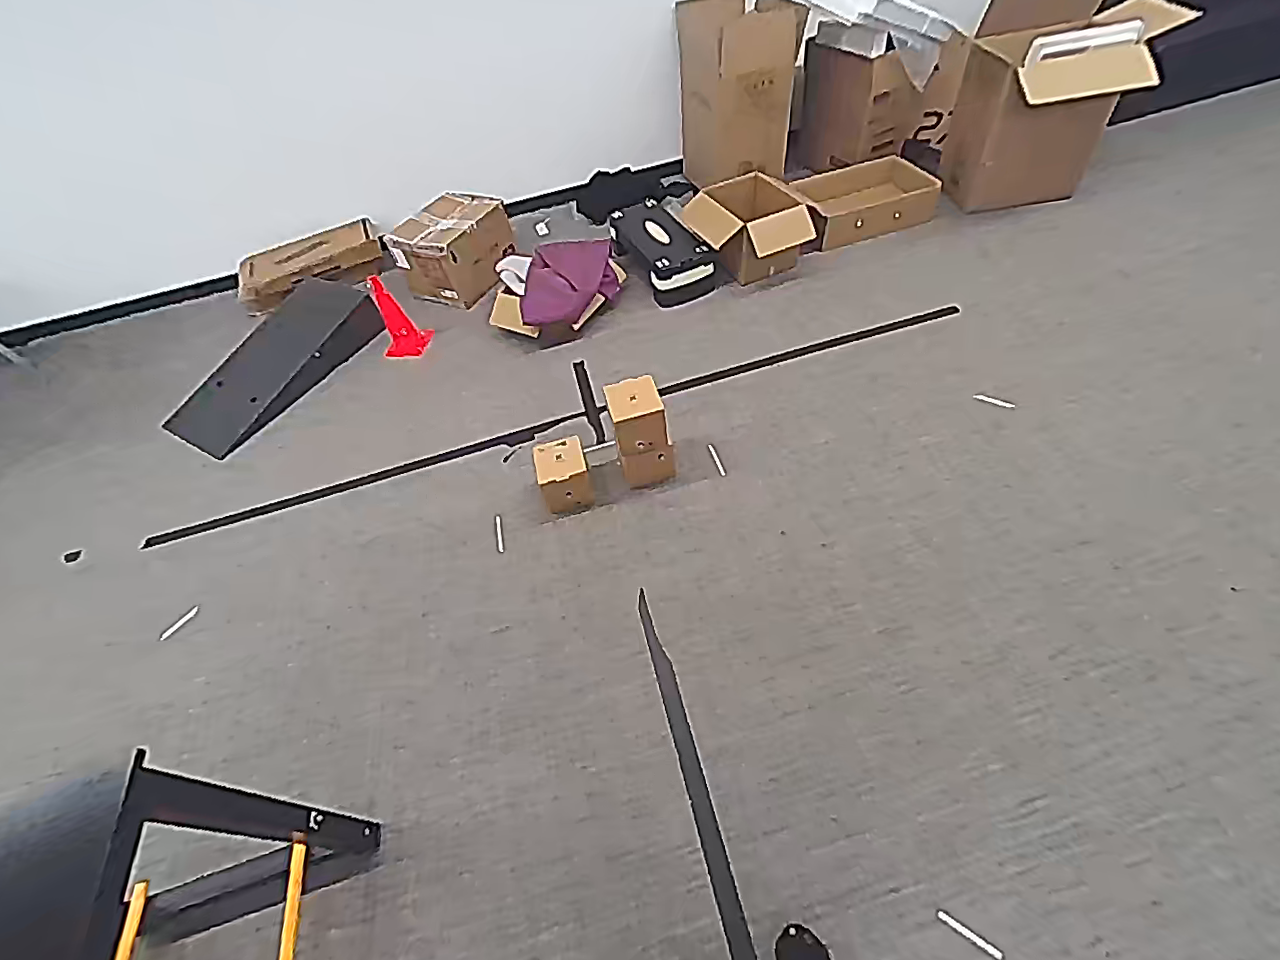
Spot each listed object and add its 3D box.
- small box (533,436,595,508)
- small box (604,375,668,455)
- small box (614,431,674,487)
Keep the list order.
[{"bbox_3d":[-0.260,-0.021,1.873,0.168,0.176,0.179,-15,52,-2],"label":"small box"},{"bbox_3d":[-0.012,-0.211,1.776,0.168,0.176,0.179,-16,52,-3],"label":"small box"},{"bbox_3d":[0.016,-0.103,1.895,0.179,0.176,0.168,-17,51,-5],"label":"small box"}]
